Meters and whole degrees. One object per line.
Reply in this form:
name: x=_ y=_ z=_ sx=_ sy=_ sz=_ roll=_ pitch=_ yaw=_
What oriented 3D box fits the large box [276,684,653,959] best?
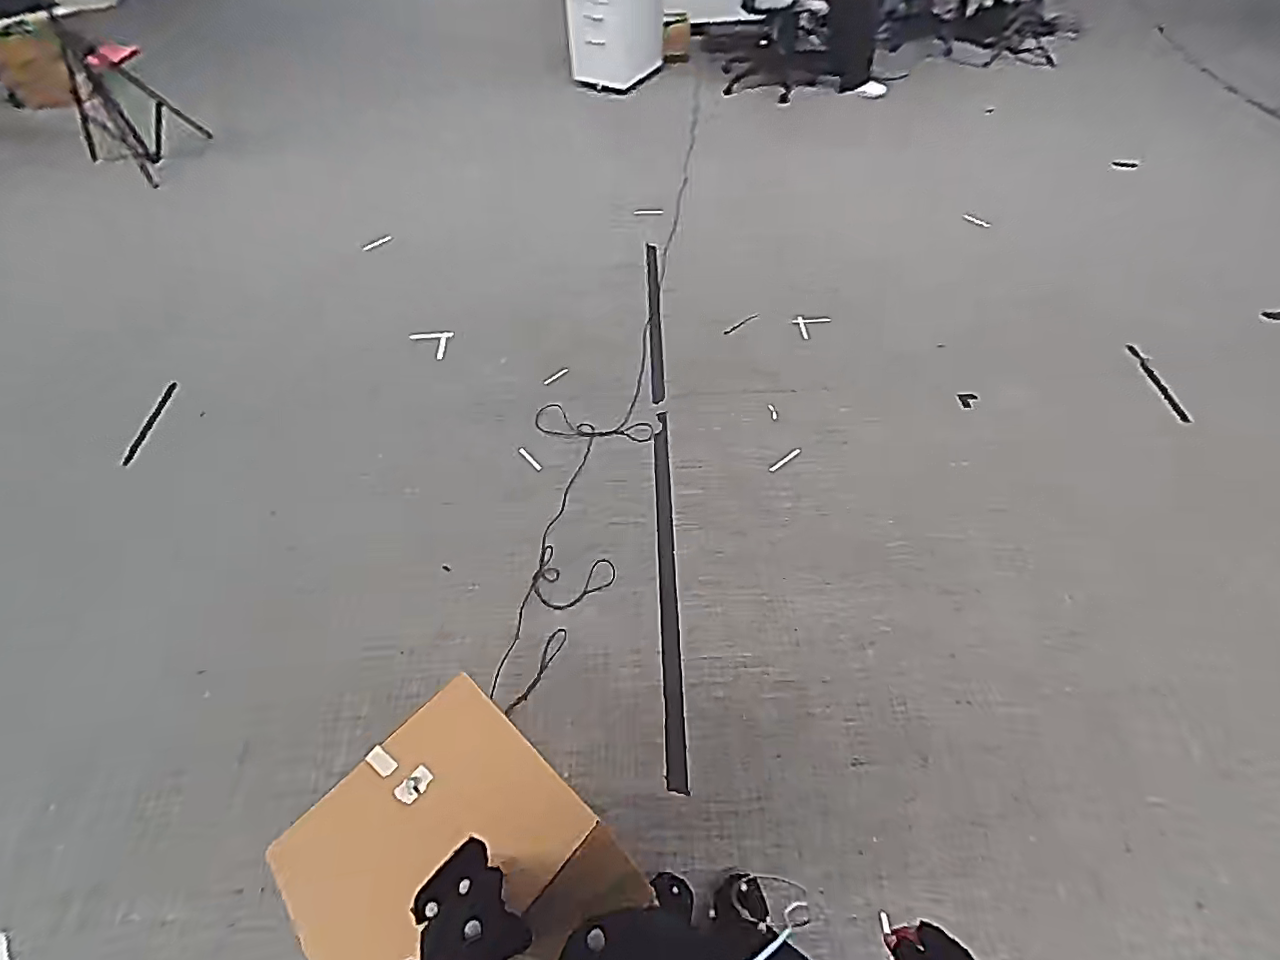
large box: x=-0.225 y=0.585 z=0.801 sx=0.320 sy=0.408 sz=0.320 roll=28 pitch=57 yaw=36
